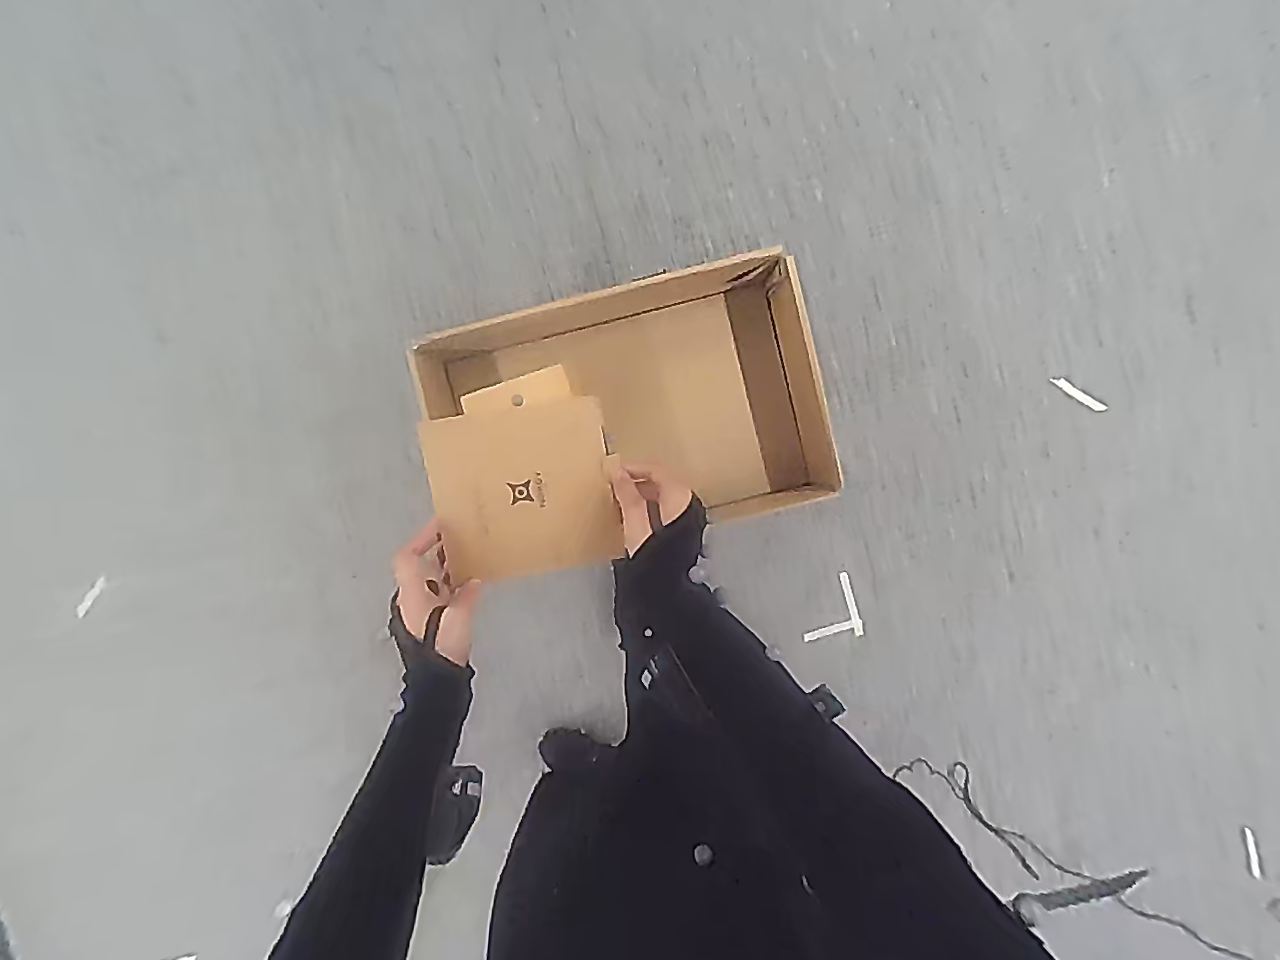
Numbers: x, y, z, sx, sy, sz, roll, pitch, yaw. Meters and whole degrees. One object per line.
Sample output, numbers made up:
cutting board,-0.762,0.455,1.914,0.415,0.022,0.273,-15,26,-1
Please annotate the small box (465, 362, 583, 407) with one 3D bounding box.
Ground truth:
small box,-0.162,-0.075,0.893,0.168,0.176,0.179,-18,93,2

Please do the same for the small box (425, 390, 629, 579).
small box,-0.117,-0.003,0.604,0.179,0.176,0.168,-10,95,-5
